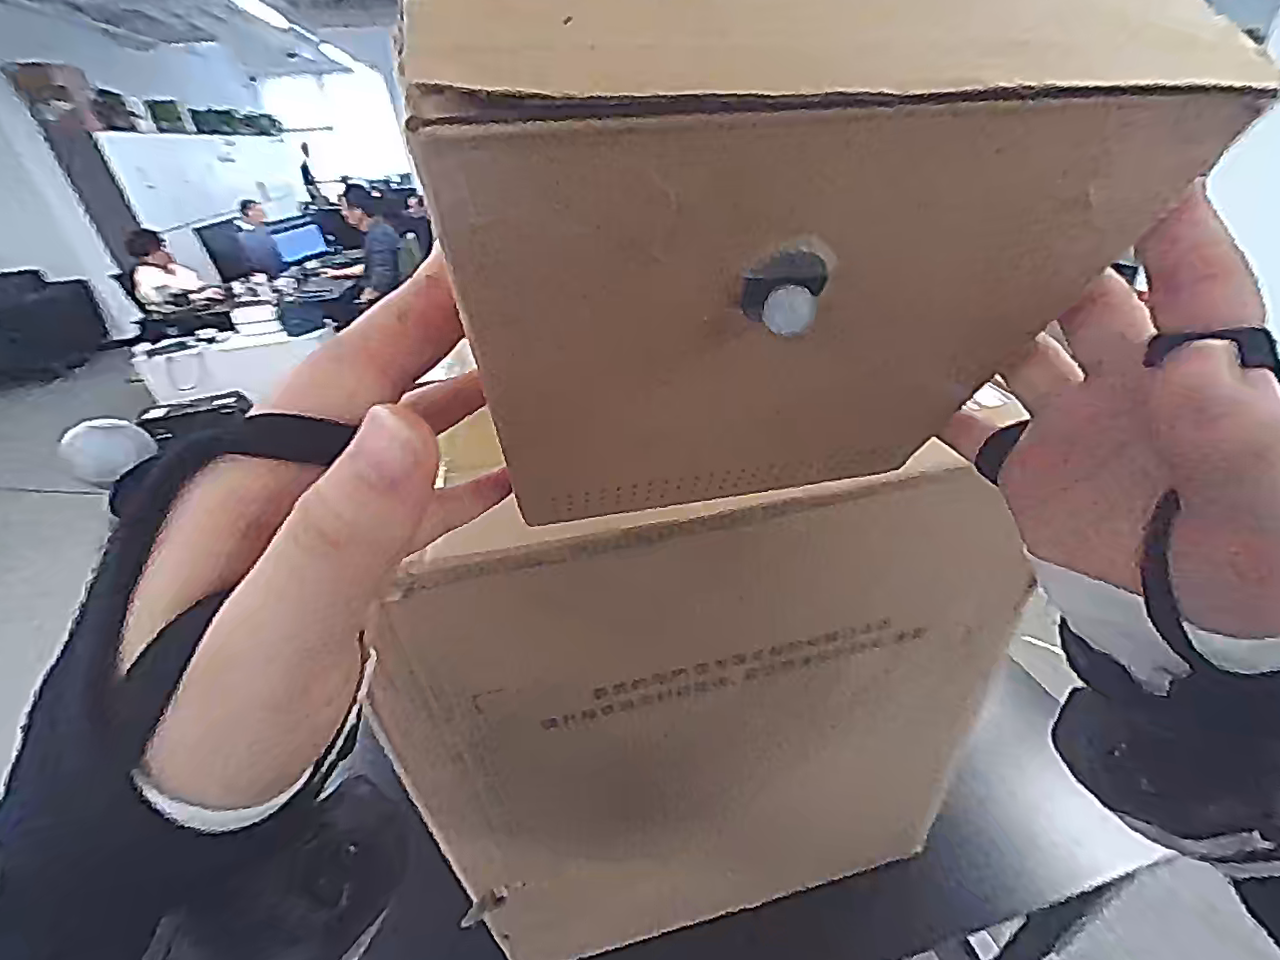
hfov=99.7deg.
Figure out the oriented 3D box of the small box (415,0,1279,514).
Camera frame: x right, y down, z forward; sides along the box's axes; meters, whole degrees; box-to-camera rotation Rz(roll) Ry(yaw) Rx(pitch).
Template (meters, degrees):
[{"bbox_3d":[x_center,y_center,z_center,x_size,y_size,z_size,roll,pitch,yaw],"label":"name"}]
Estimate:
[{"bbox_3d":[0.032,-0.098,0.199,0.179,0.176,0.168,-7,65,-9],"label":"small box"}]
